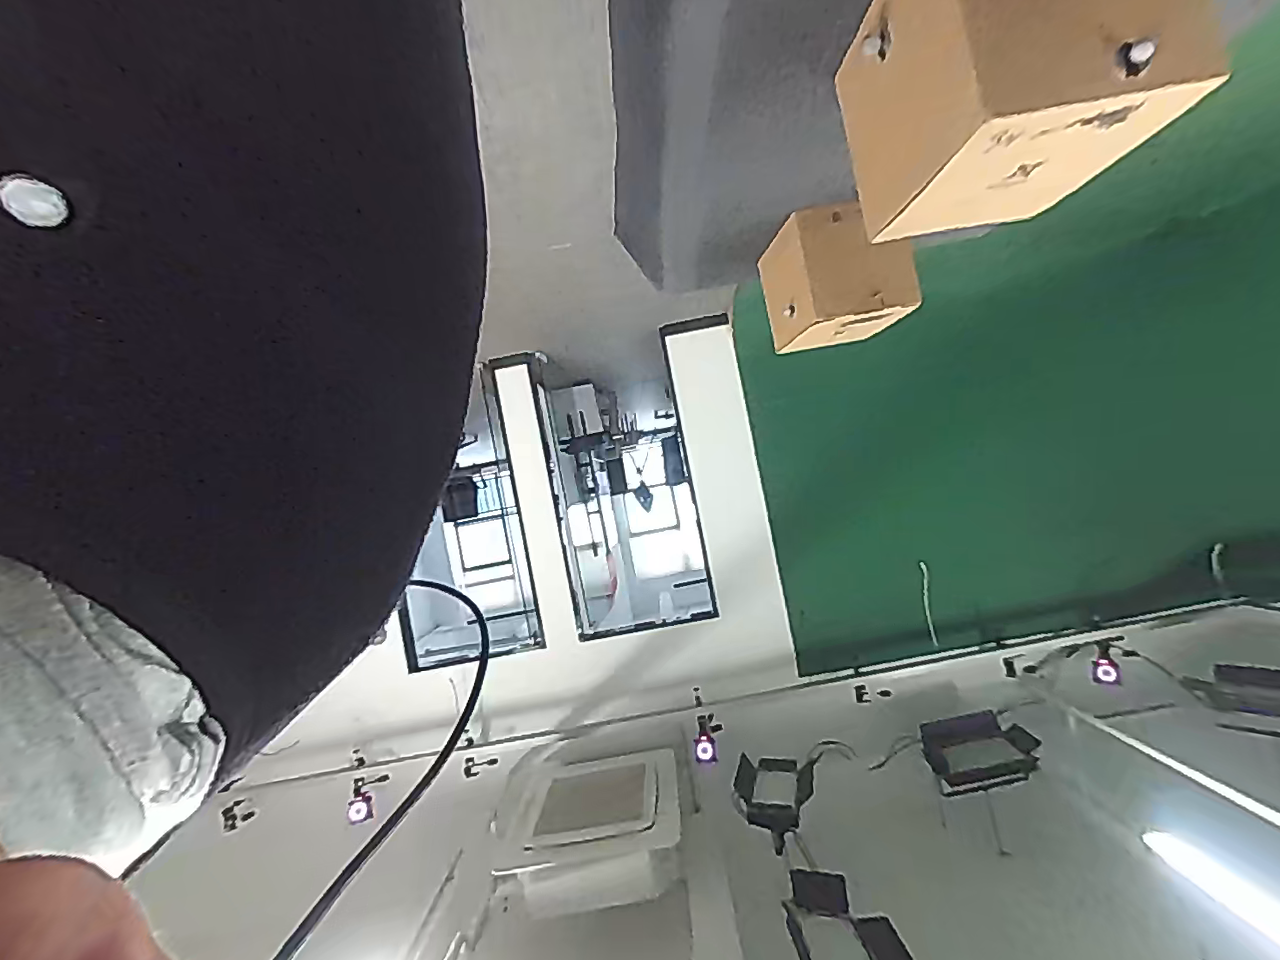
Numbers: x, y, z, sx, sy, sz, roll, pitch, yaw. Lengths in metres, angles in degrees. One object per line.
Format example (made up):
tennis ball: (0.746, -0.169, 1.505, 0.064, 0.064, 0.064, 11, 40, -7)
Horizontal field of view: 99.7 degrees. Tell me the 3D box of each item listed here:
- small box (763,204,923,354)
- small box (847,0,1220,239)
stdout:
small box: (0.309, -0.319, 0.862, 0.168, 0.176, 0.179, -11, 179, -5)
small box: (0.282, -0.324, 0.430, 0.168, 0.176, 0.179, -12, 180, -1)
